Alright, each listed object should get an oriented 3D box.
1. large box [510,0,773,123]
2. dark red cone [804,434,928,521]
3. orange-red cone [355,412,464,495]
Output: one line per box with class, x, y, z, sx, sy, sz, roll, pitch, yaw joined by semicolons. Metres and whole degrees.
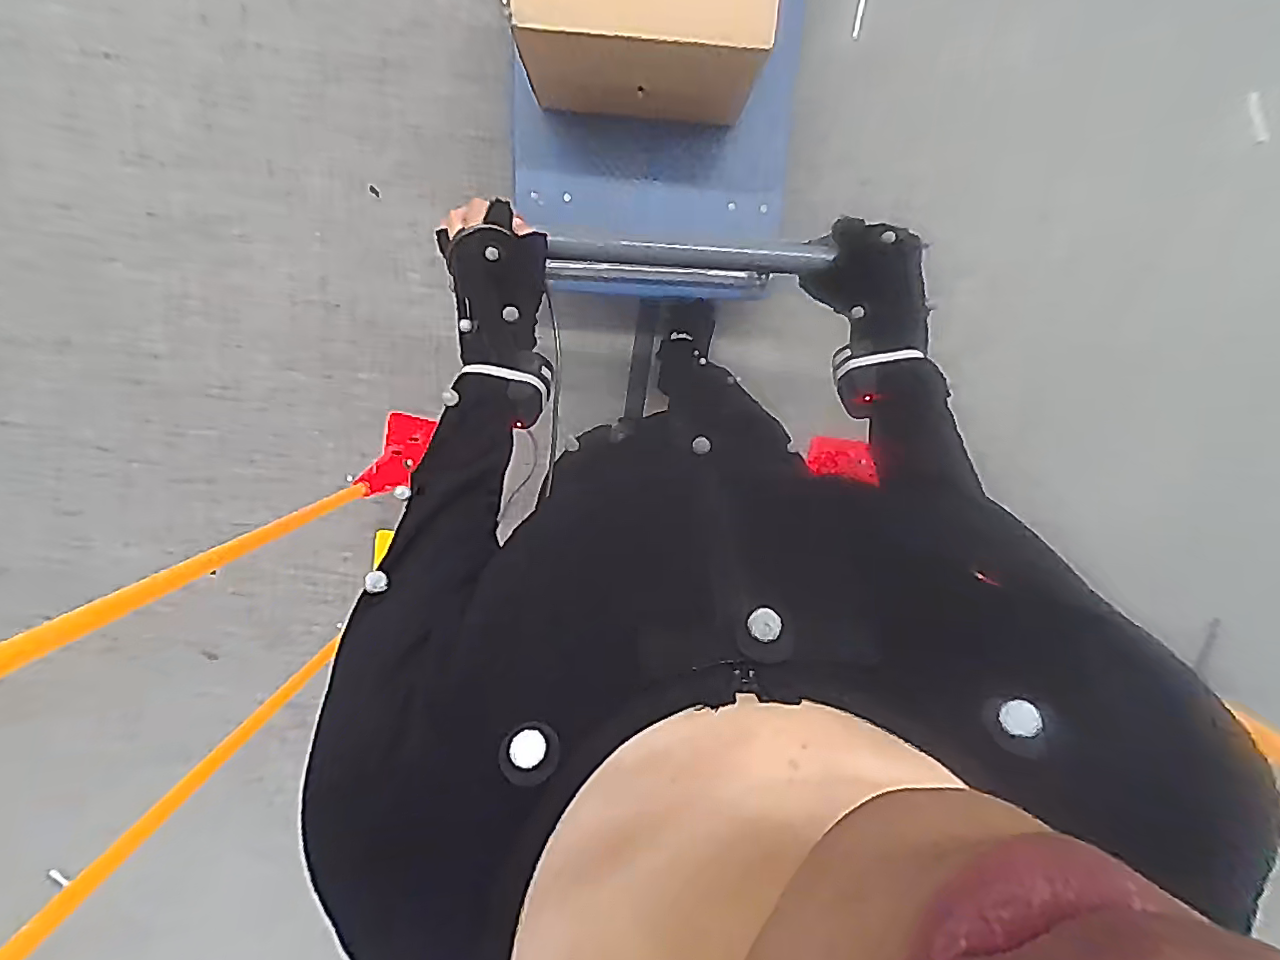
large box;0.006;-0.853;0.936;0.408;0.320;0.320;3;104;-2
dark red cone;0.561;0.022;1.299;0.201;0.394;0.202;6;104;-5
orange-red cone;-0.572;-0.031;1.270;0.198;0.360;0.199;14;101;-6
